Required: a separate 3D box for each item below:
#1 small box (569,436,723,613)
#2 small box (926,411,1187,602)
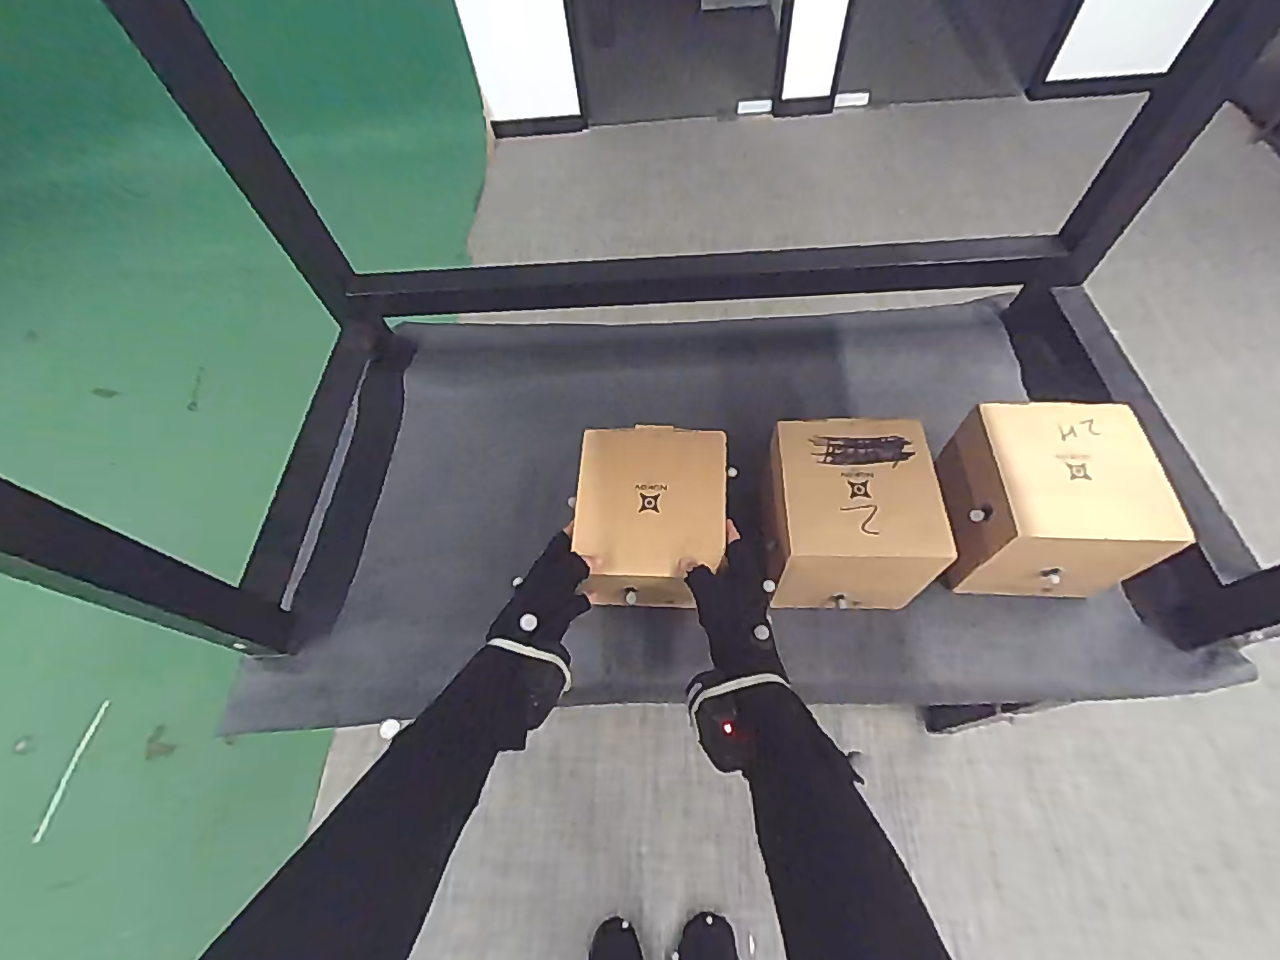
[{"bbox_3d":[0.017,0.062,0.668,0.168,0.176,0.179,1,64,5],"label":"small box"},{"bbox_3d":[0.469,0.037,0.648,0.168,0.176,0.179,2,58,6],"label":"small box"}]
